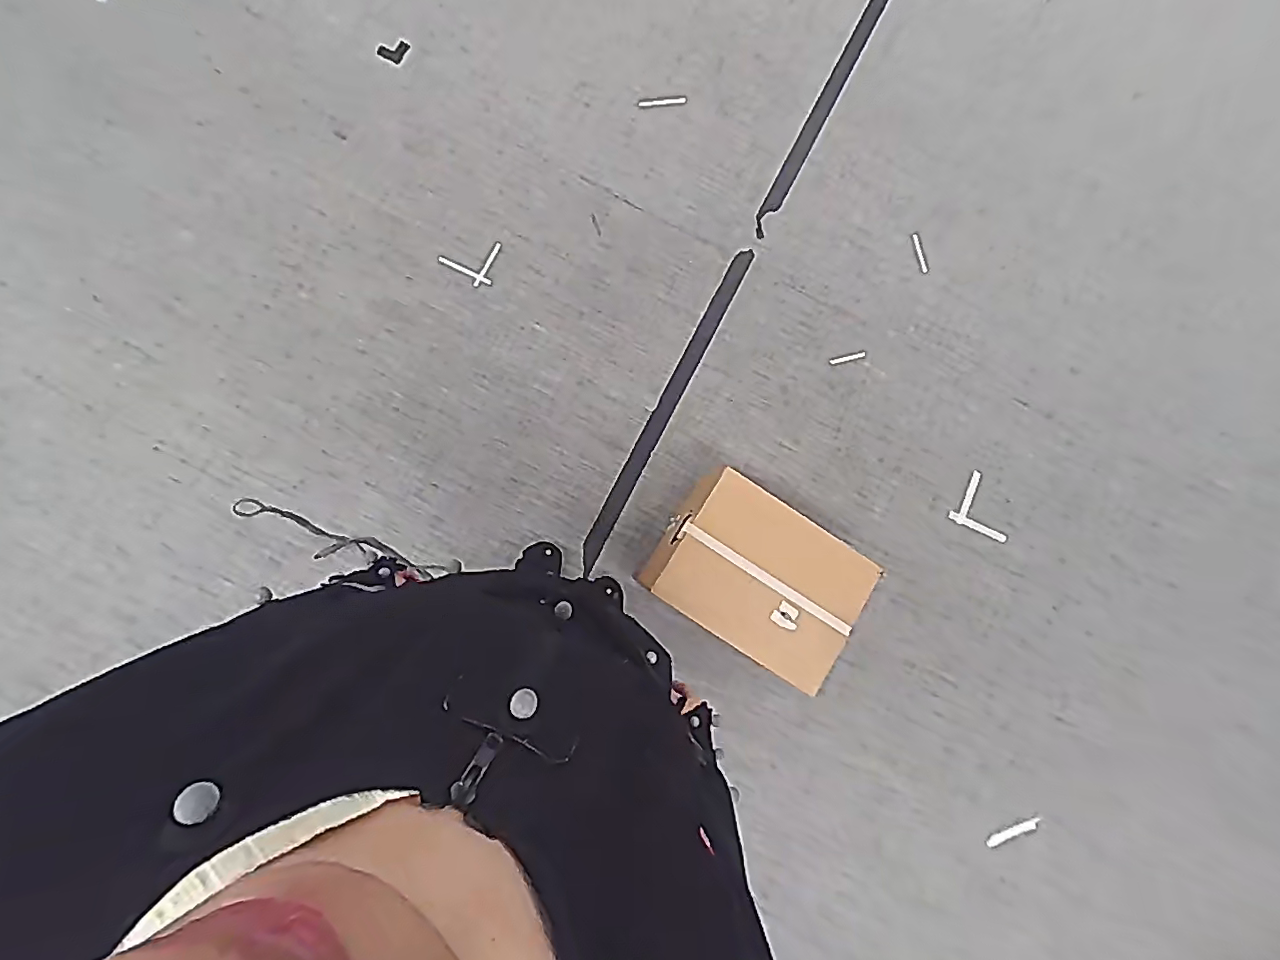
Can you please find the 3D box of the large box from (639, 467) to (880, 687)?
[{"bbox_3d":[0.254,0.215,1.275,0.408,0.320,0.320,33,82,-2],"label":"large box"}]
